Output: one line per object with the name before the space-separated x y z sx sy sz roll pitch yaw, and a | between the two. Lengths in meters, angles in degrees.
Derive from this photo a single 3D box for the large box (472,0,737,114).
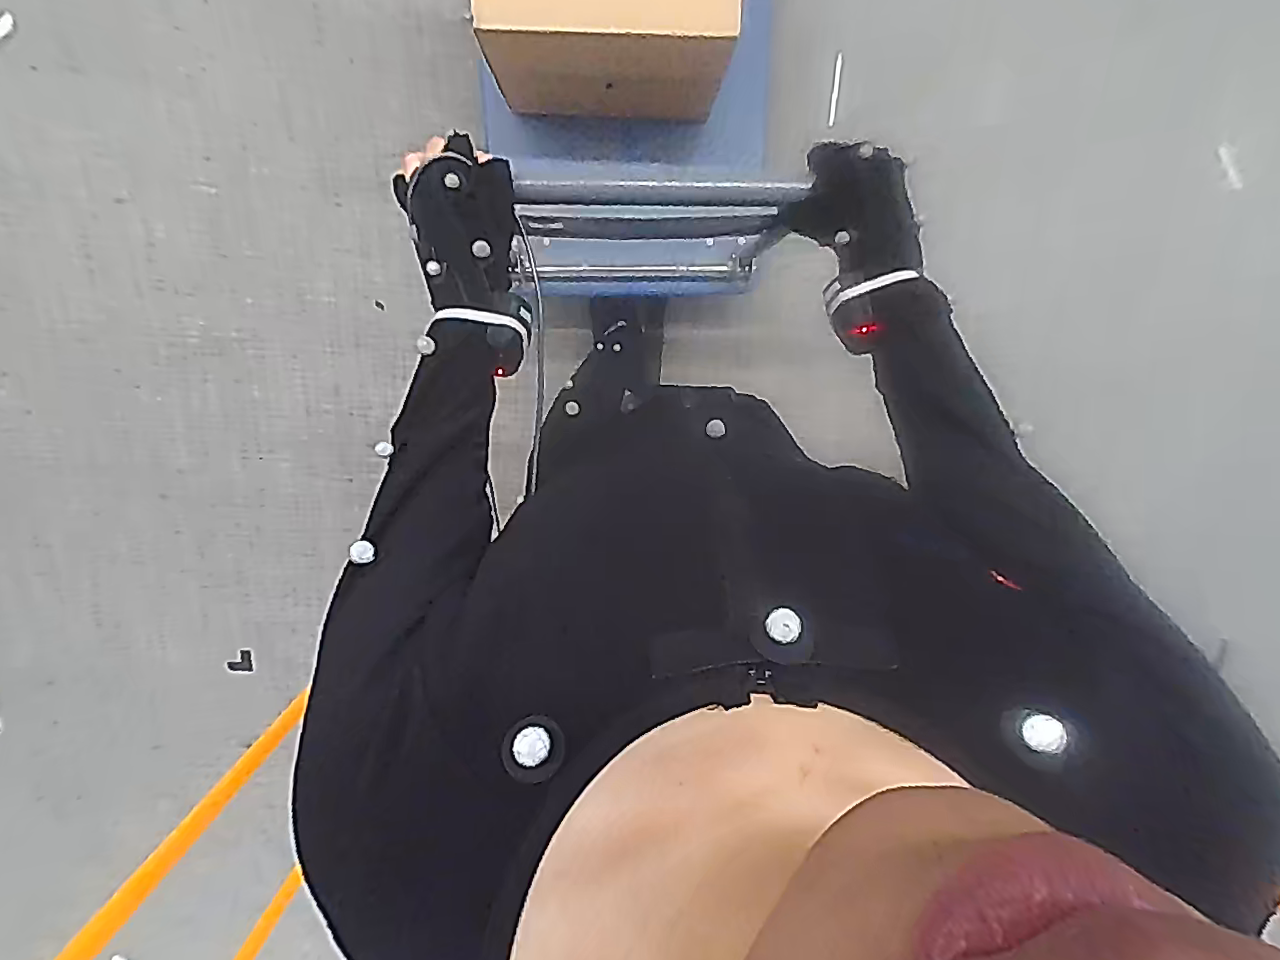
large box | -0.055 -0.859 0.927 0.408 0.320 0.320 0 104 -2

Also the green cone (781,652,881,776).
green cone | 0.548 0.659 1.475 0.202 0.368 0.200 6 103 -5
